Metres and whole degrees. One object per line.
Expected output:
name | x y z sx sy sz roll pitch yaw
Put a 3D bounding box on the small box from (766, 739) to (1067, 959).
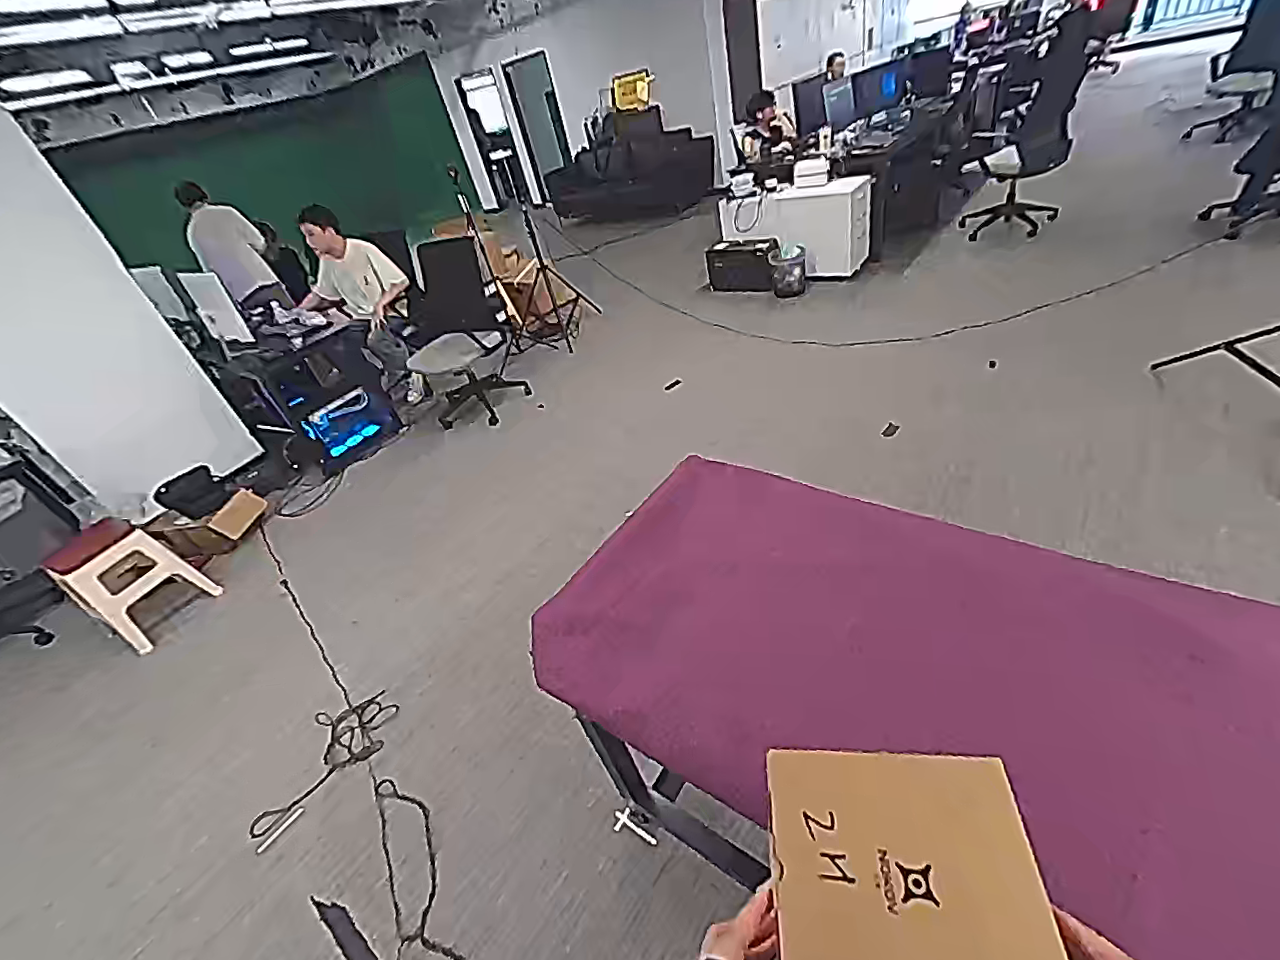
small box | 0.193 0.324 0.427 0.179 0.176 0.168 -4 44 13
